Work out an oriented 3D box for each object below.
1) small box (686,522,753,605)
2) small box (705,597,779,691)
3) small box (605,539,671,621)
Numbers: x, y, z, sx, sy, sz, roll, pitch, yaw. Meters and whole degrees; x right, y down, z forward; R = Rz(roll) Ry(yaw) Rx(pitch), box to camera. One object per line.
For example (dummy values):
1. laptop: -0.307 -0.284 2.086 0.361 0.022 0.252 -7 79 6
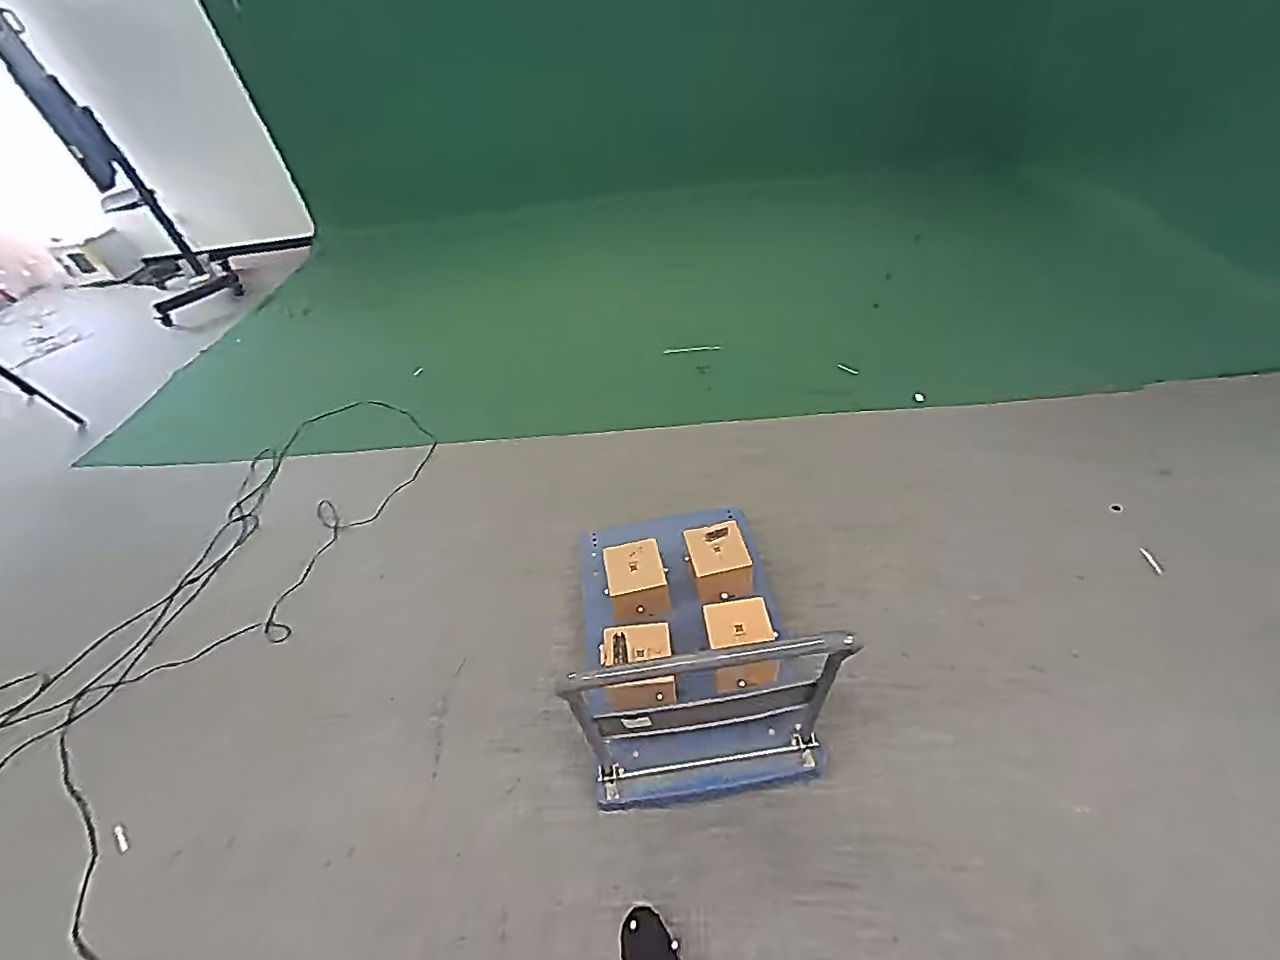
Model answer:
1. small box: 0.241 0.259 1.665 0.168 0.176 0.179 -13 46 -1
2. small box: 0.272 0.448 1.474 0.168 0.176 0.179 -9 45 1
3. small box: -0.005 0.313 1.655 0.168 0.176 0.179 -11 45 -3
